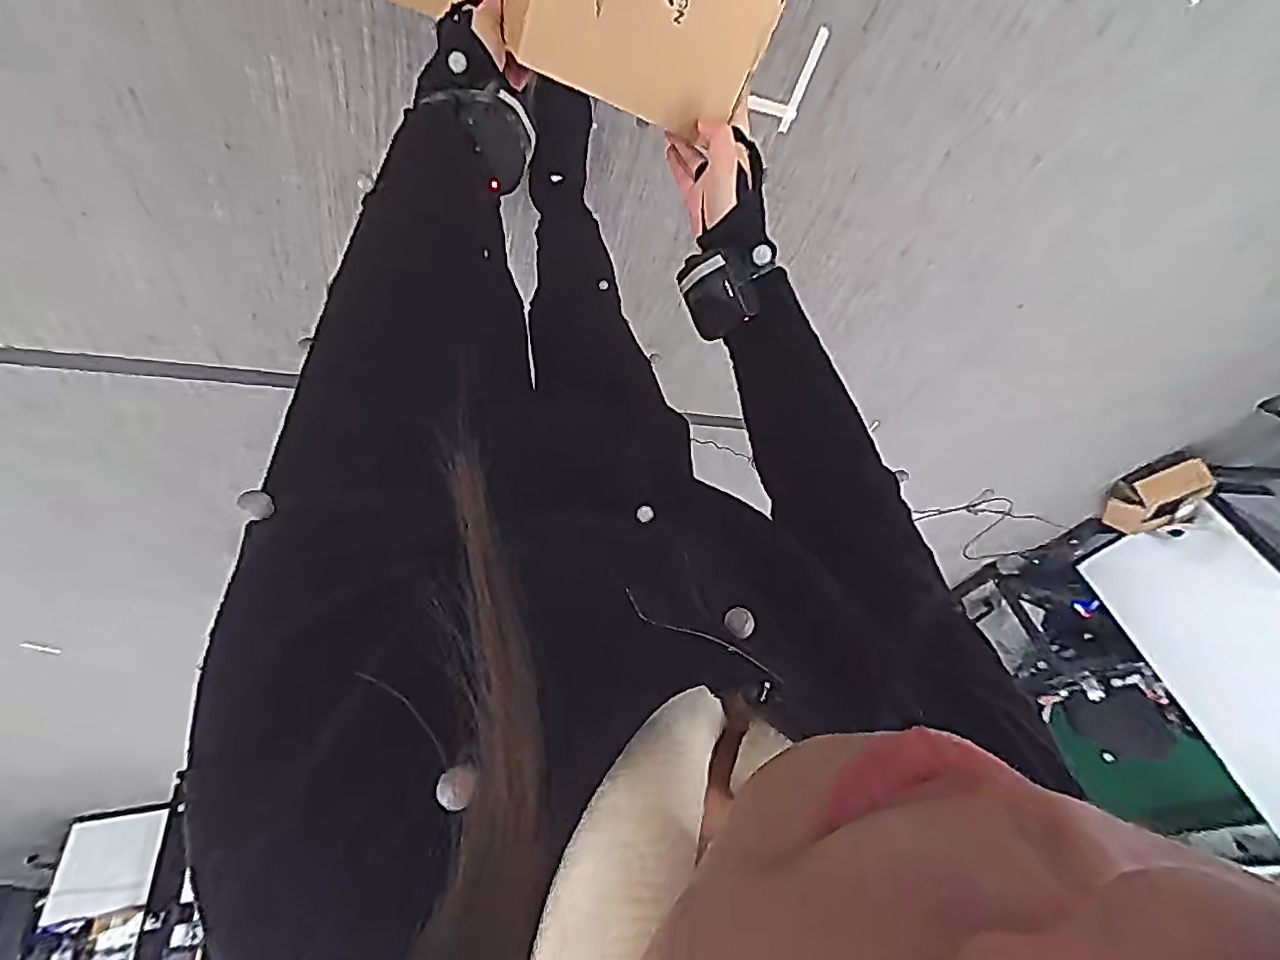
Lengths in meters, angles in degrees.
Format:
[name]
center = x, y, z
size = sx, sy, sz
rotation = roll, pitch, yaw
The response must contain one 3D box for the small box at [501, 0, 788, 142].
[small box]
center = 0.004, -0.401, 0.410
size = 0.179, 0.176, 0.168
rotation = 7, 134, -28
